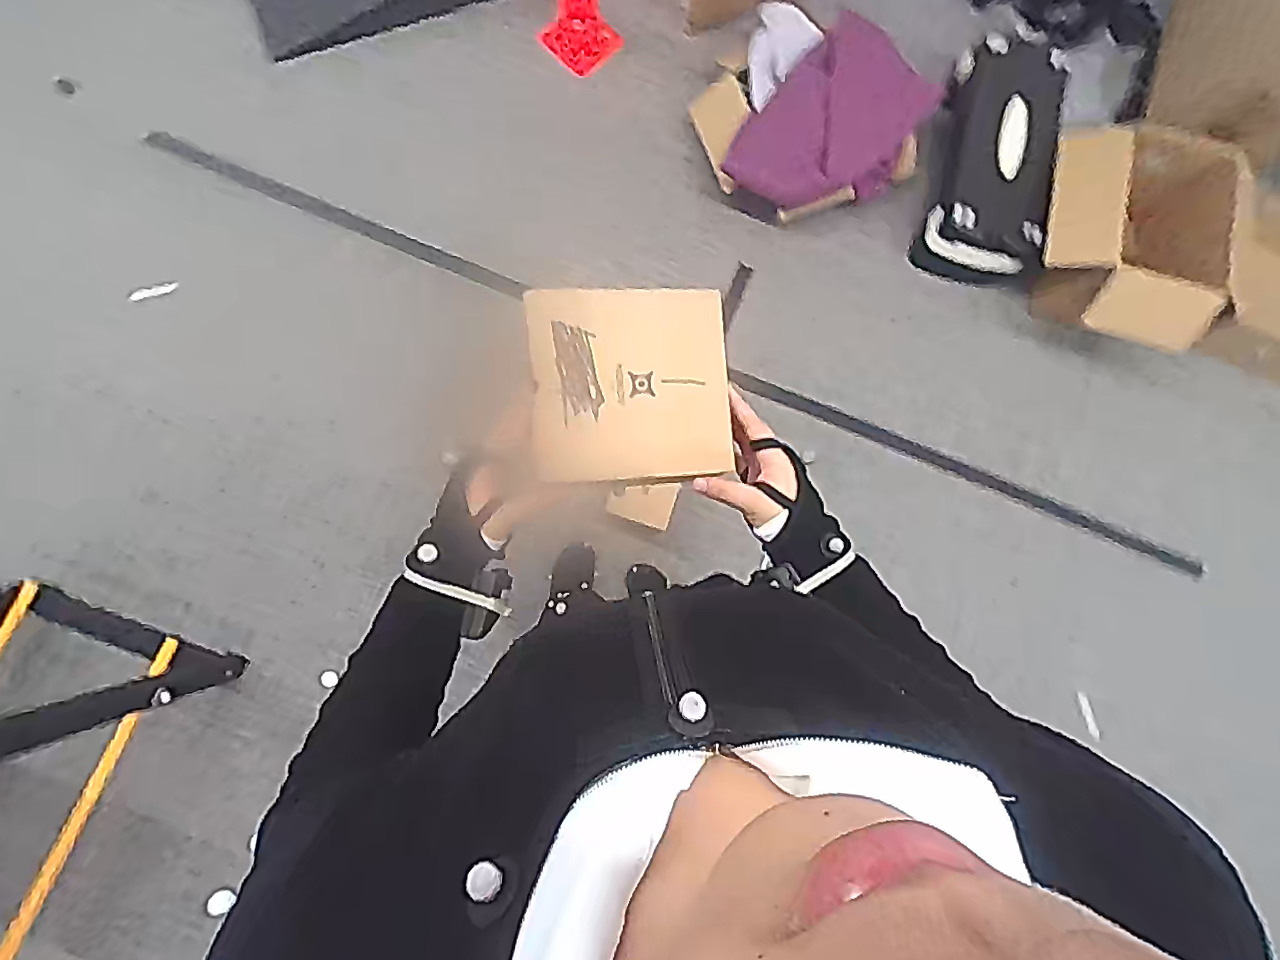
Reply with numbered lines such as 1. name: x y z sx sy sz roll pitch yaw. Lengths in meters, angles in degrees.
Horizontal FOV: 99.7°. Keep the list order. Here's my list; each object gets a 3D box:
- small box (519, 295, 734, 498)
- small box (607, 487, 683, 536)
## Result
1. small box: -0.022 -0.071 0.540 0.179 0.176 0.168 -5 87 -10
2. small box: 0.014 0.043 1.447 0.168 0.176 0.179 18 83 0
